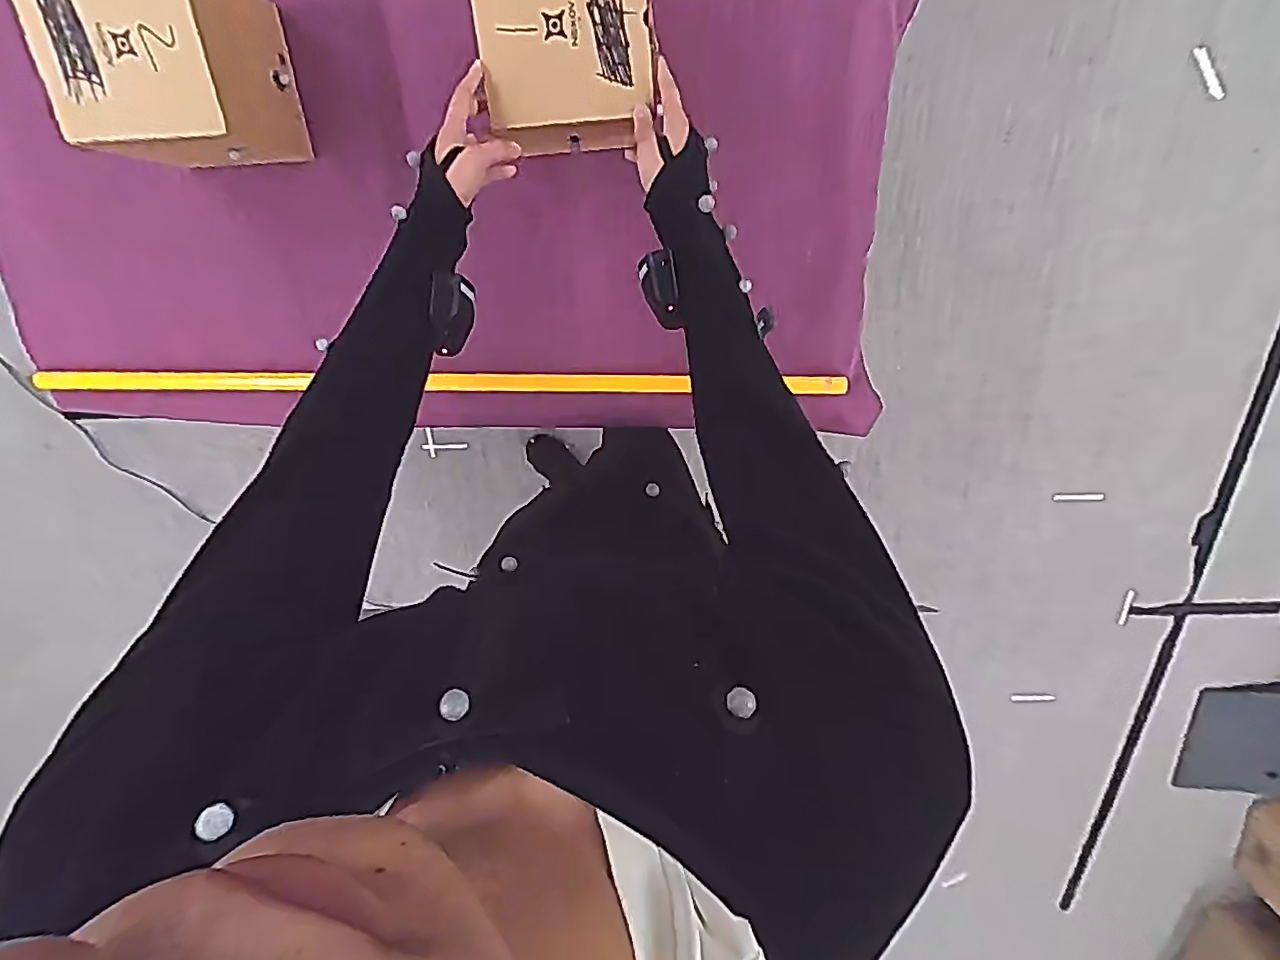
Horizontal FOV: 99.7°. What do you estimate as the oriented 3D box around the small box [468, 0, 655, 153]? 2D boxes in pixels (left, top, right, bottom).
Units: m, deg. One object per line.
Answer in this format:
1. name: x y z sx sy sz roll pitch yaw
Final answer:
1. small box: -0.076 -0.473 0.595 0.179 0.176 0.168 -3 113 3
